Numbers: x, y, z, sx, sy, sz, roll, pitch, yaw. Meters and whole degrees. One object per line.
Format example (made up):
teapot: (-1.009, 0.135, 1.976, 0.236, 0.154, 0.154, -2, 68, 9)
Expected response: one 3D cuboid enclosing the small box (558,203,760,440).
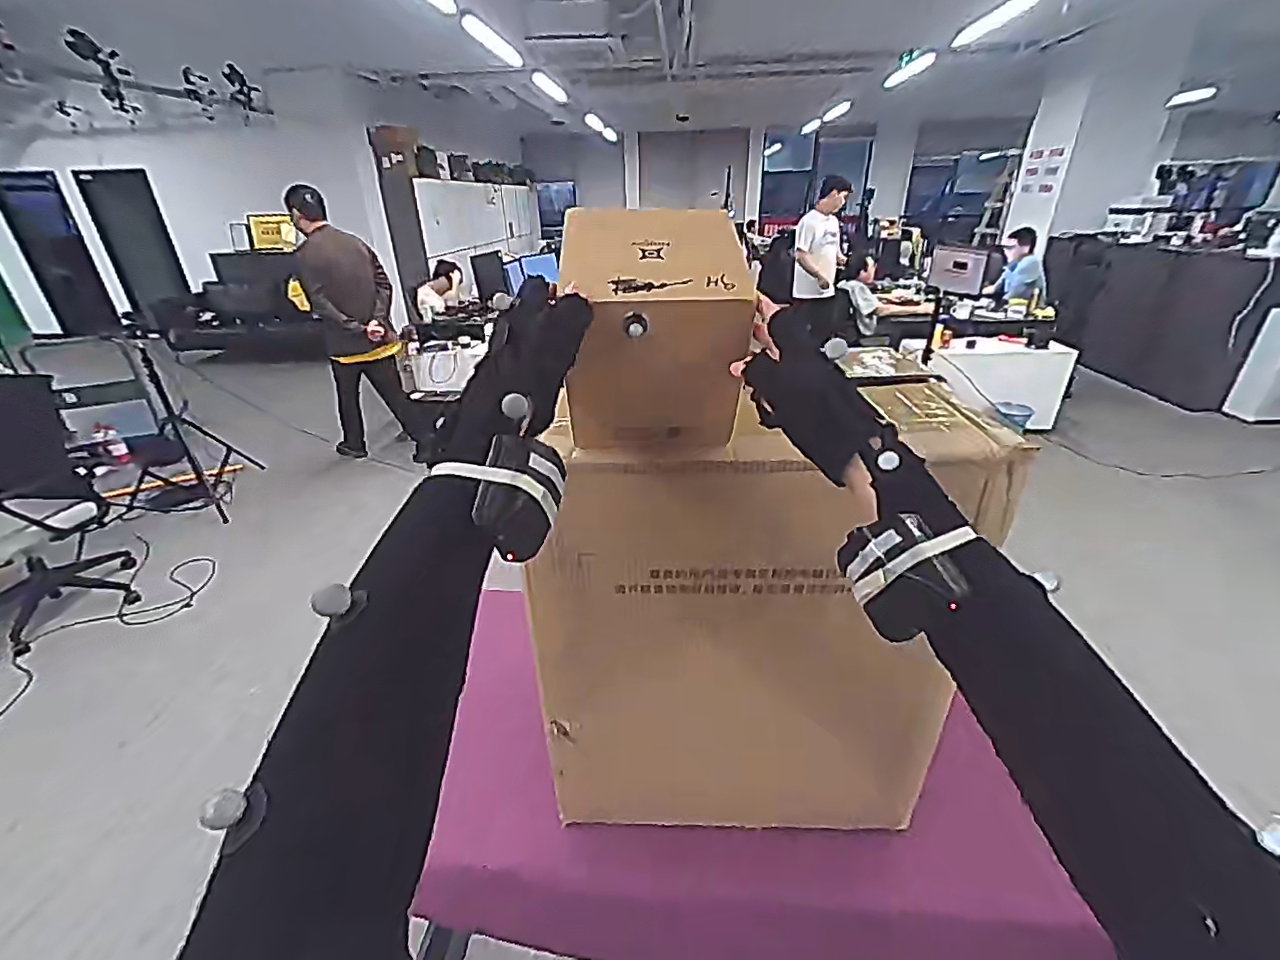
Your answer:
small box: (0.013, -0.160, 0.546, 0.168, 0.176, 0.179, -1, 47, -1)
